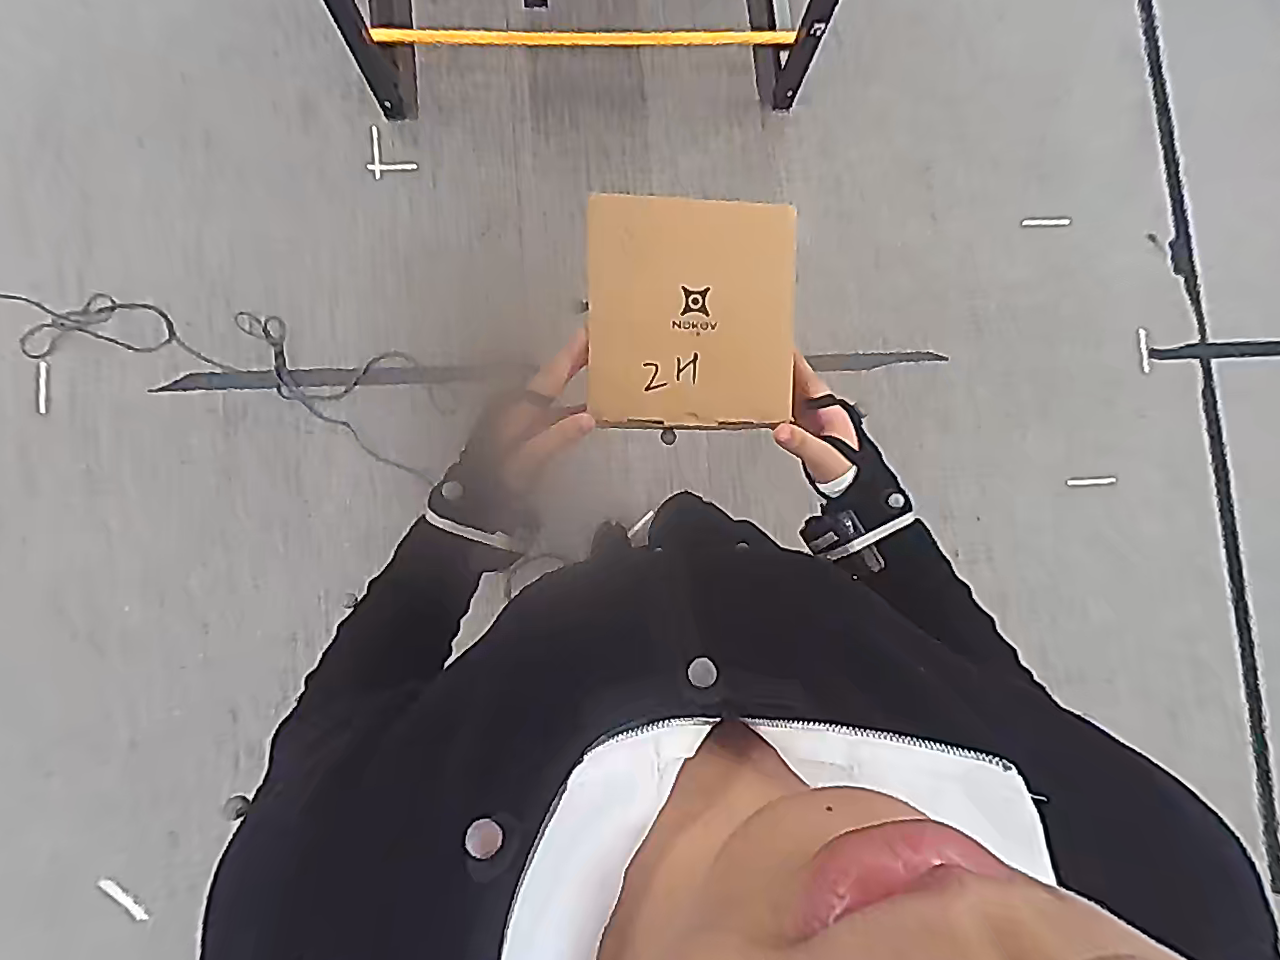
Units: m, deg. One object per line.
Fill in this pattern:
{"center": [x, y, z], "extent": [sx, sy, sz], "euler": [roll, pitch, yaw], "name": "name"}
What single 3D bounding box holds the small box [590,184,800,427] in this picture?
{"center": [0.038, -0.144, 0.506], "extent": [0.168, 0.176, 0.179], "euler": [0, 93, -5], "name": "small box"}
